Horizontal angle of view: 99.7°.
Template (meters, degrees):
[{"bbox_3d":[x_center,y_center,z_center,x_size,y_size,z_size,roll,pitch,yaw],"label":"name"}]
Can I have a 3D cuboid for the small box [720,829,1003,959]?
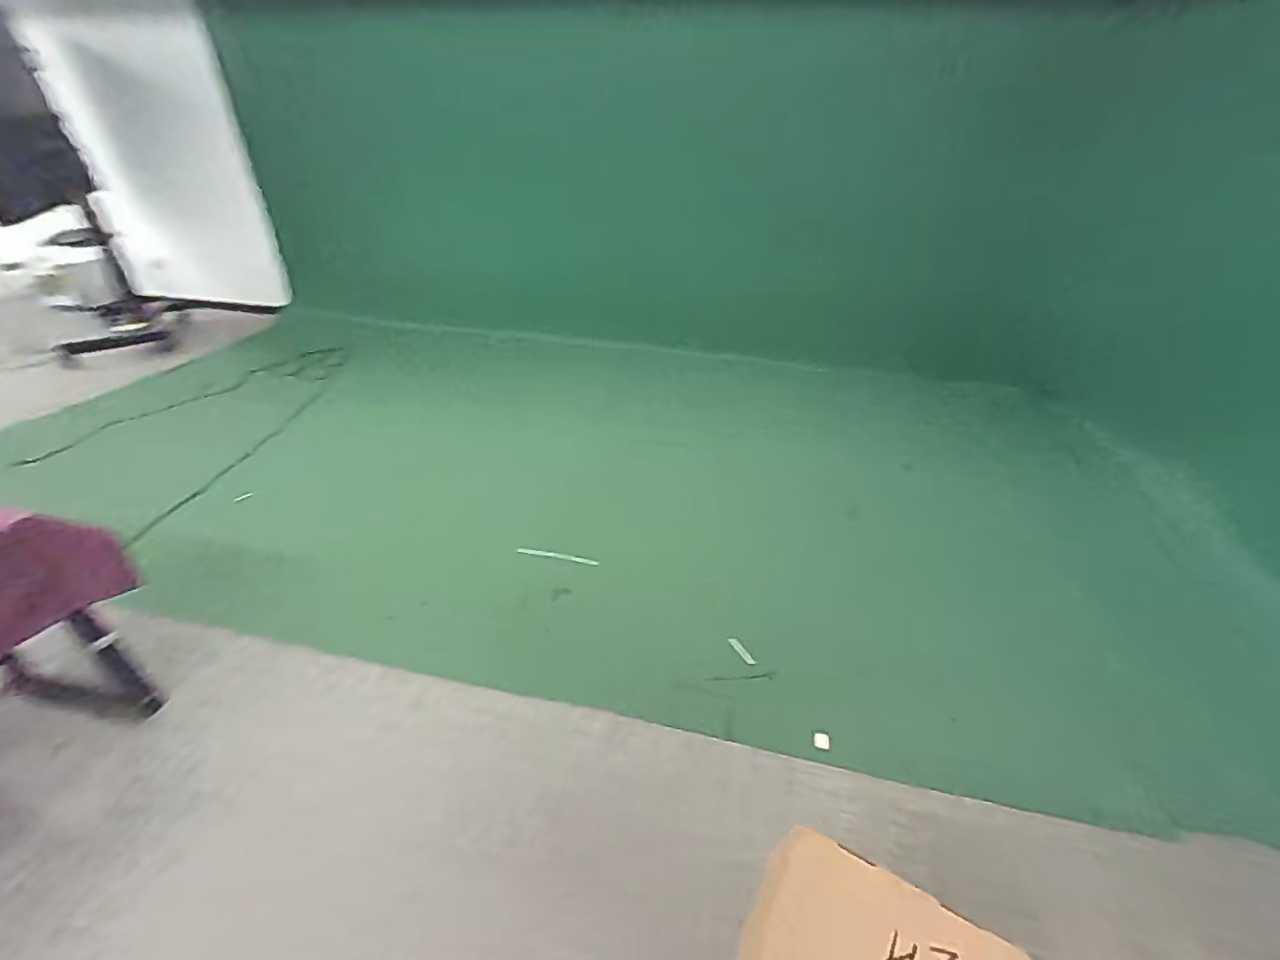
[{"bbox_3d":[0.150,0.418,0.420,0.168,0.176,0.179,22,54,20],"label":"small box"}]
